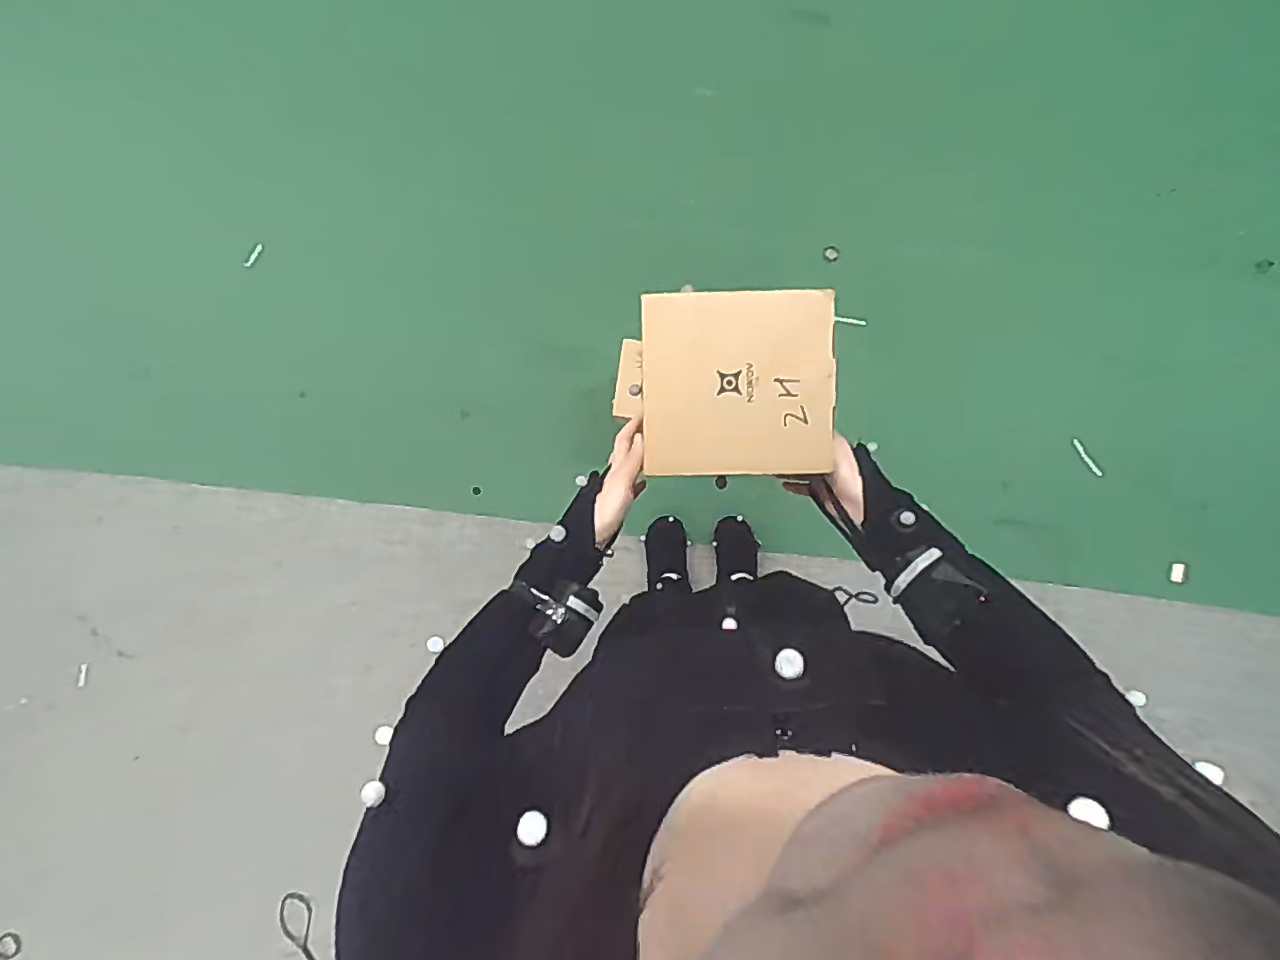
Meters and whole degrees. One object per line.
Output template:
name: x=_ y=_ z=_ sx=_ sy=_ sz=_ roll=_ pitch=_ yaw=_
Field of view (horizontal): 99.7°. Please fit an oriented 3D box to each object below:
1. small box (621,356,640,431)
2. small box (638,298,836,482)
small box: x=0.051 y=-0.213 z=1.422 sx=0.168 sy=0.176 sz=0.179 roll=8 pitch=89 yaw=5
small box: x=0.089 y=-0.084 z=0.564 sx=0.179 sy=0.176 sz=0.168 roll=-1 pitch=94 yaw=1
